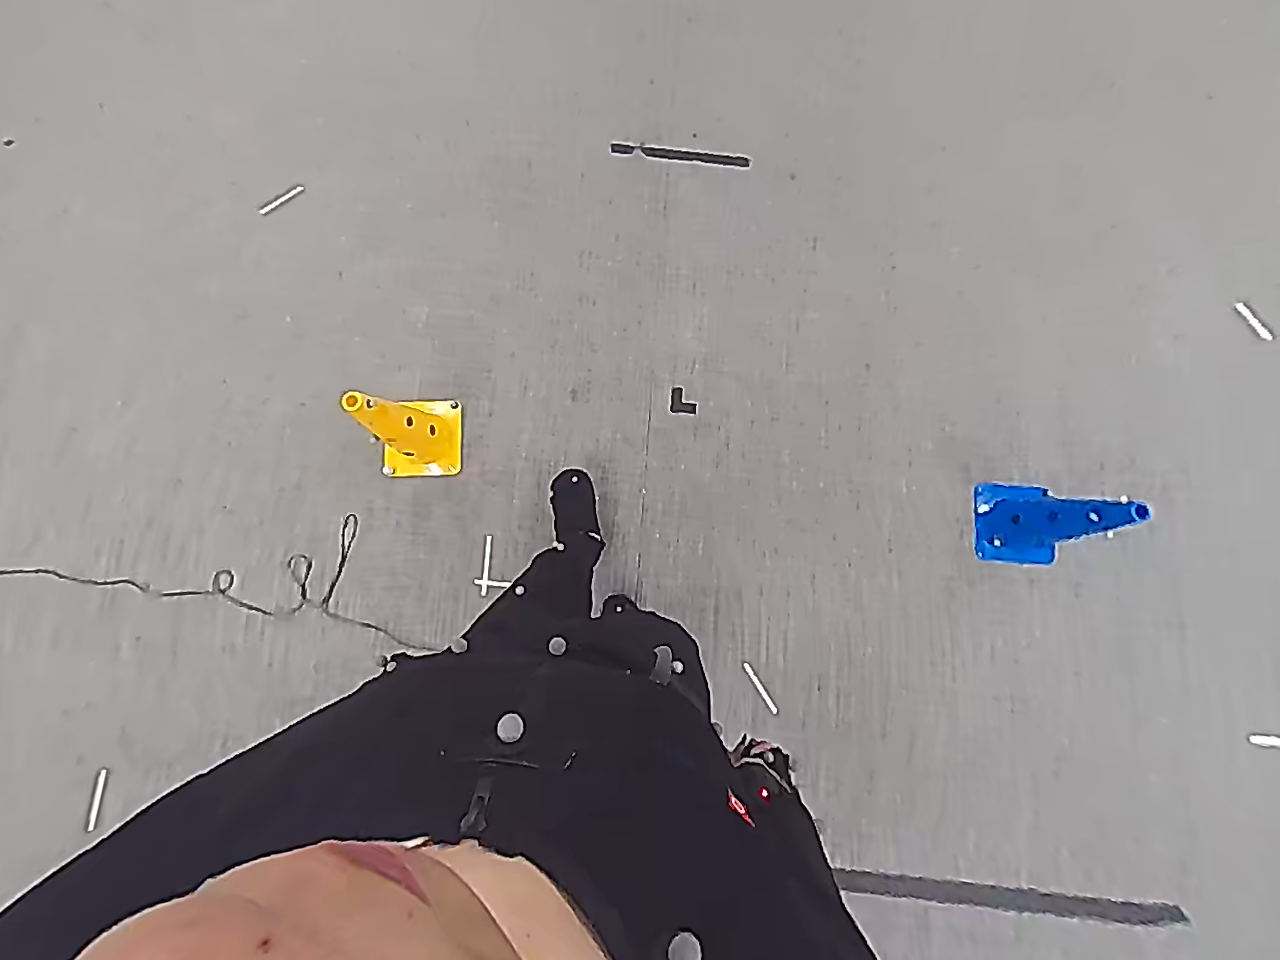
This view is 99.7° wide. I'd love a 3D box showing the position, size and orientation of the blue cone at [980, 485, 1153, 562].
[{"bbox_3d":[0.958,0.083,1.206,0.193,0.380,0.192,6,81,1],"label":"blue cone"}]
